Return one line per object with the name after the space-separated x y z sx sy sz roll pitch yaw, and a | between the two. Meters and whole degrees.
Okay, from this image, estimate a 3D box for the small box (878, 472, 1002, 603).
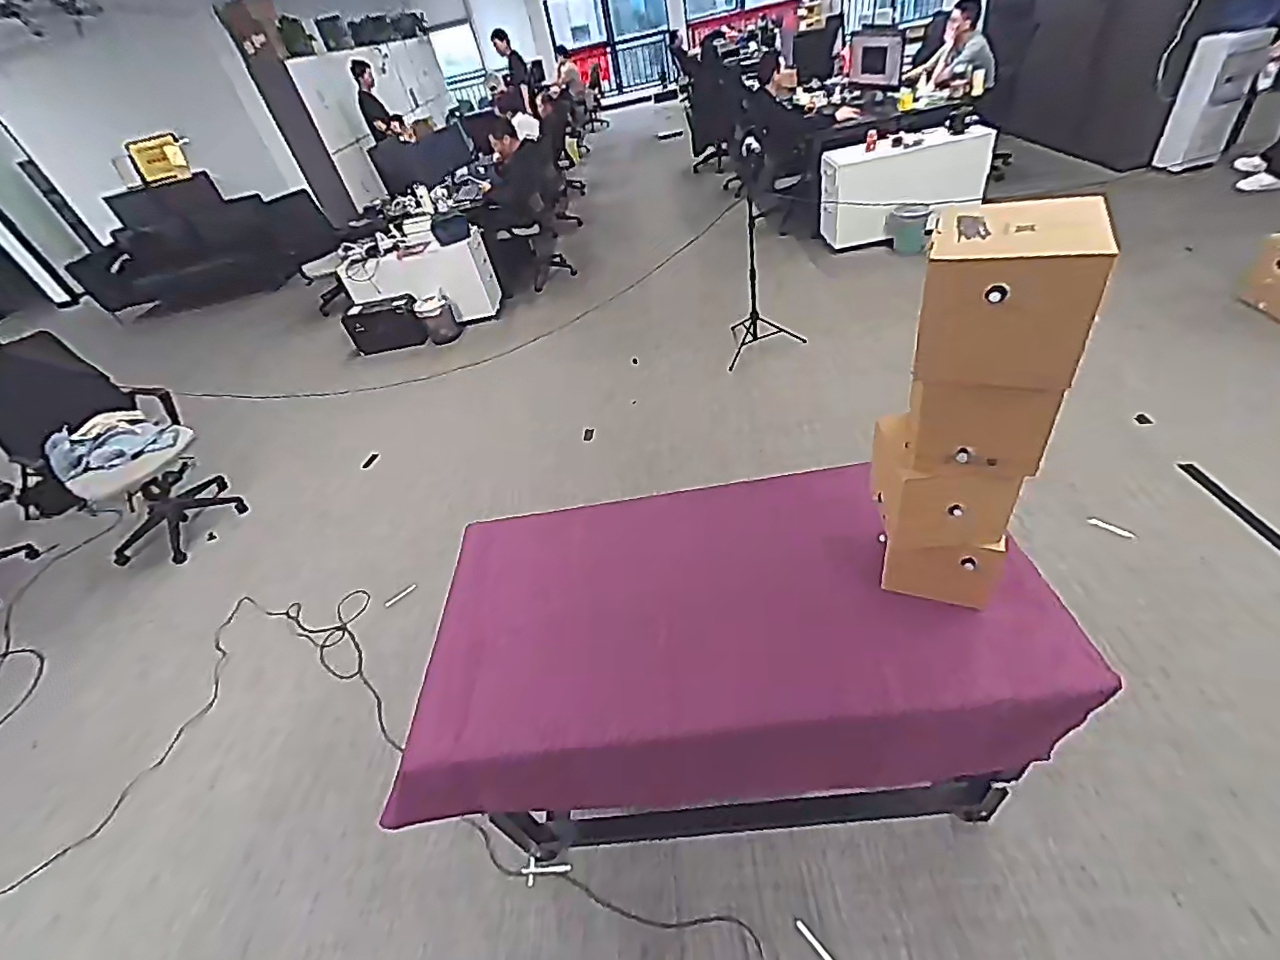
0.561 0.110 1.023 0.179 0.176 0.168 9 46 25 | small box

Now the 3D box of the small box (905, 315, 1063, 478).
0.495 -0.126 0.806 0.168 0.176 0.179 4 45 23 | small box
